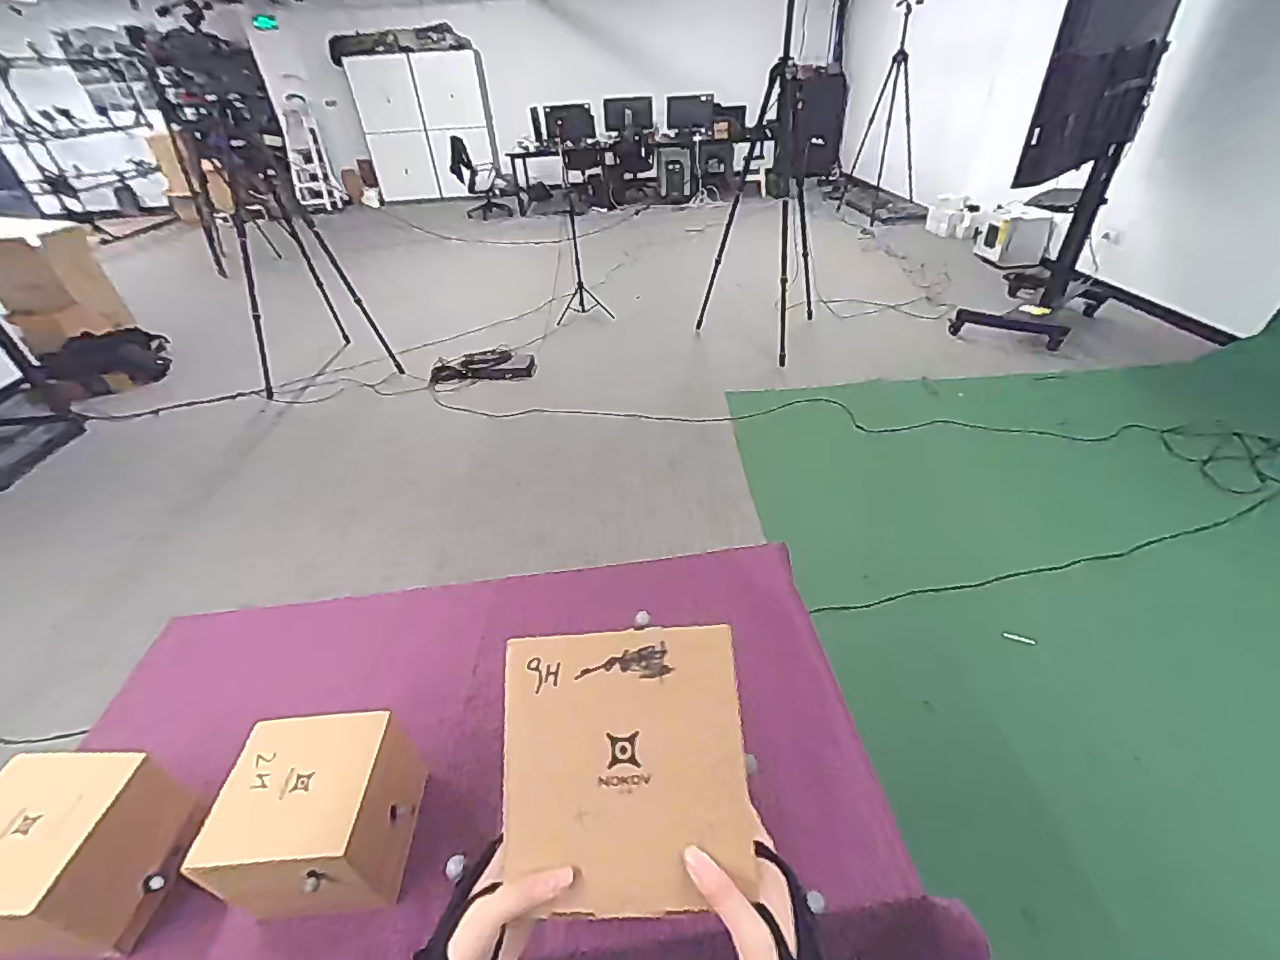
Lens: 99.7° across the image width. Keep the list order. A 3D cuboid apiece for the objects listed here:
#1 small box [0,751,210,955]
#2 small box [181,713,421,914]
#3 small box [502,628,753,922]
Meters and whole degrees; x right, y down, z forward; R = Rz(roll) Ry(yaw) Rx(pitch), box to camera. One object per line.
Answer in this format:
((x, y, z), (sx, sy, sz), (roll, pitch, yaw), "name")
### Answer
((-0.698, 0.456, 0.664), (0.179, 0.176, 0.168), (-1, 38, 3), "small box")
((-0.400, 0.419, 0.683), (0.179, 0.176, 0.168), (-4, 36, 0), "small box")
((-0.004, 0.215, 0.440), (0.168, 0.176, 0.179), (-4, 74, 4), "small box")
